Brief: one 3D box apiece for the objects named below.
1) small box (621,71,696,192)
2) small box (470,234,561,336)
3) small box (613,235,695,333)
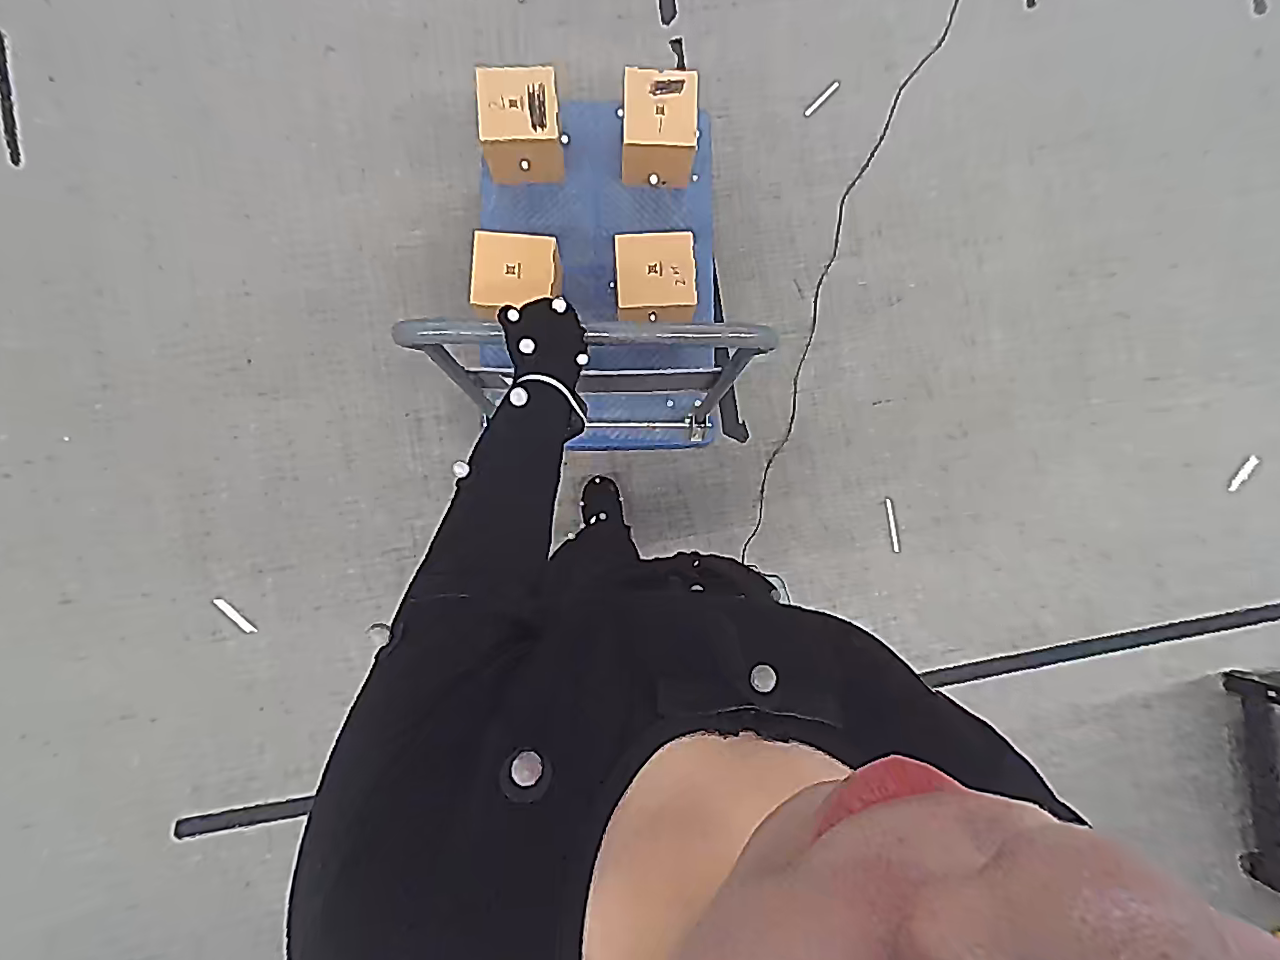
[{"bbox_3d":[0.039,-0.820,1.286,0.168,0.176,0.179,1,88,-3],"label":"small box"},{"bbox_3d":[-0.281,-0.442,1.250,0.179,0.176,0.168,3,86,-4],"label":"small box"},{"bbox_3d":[0.029,-0.450,1.264,0.179,0.176,0.168,-3,87,-3],"label":"small box"}]
